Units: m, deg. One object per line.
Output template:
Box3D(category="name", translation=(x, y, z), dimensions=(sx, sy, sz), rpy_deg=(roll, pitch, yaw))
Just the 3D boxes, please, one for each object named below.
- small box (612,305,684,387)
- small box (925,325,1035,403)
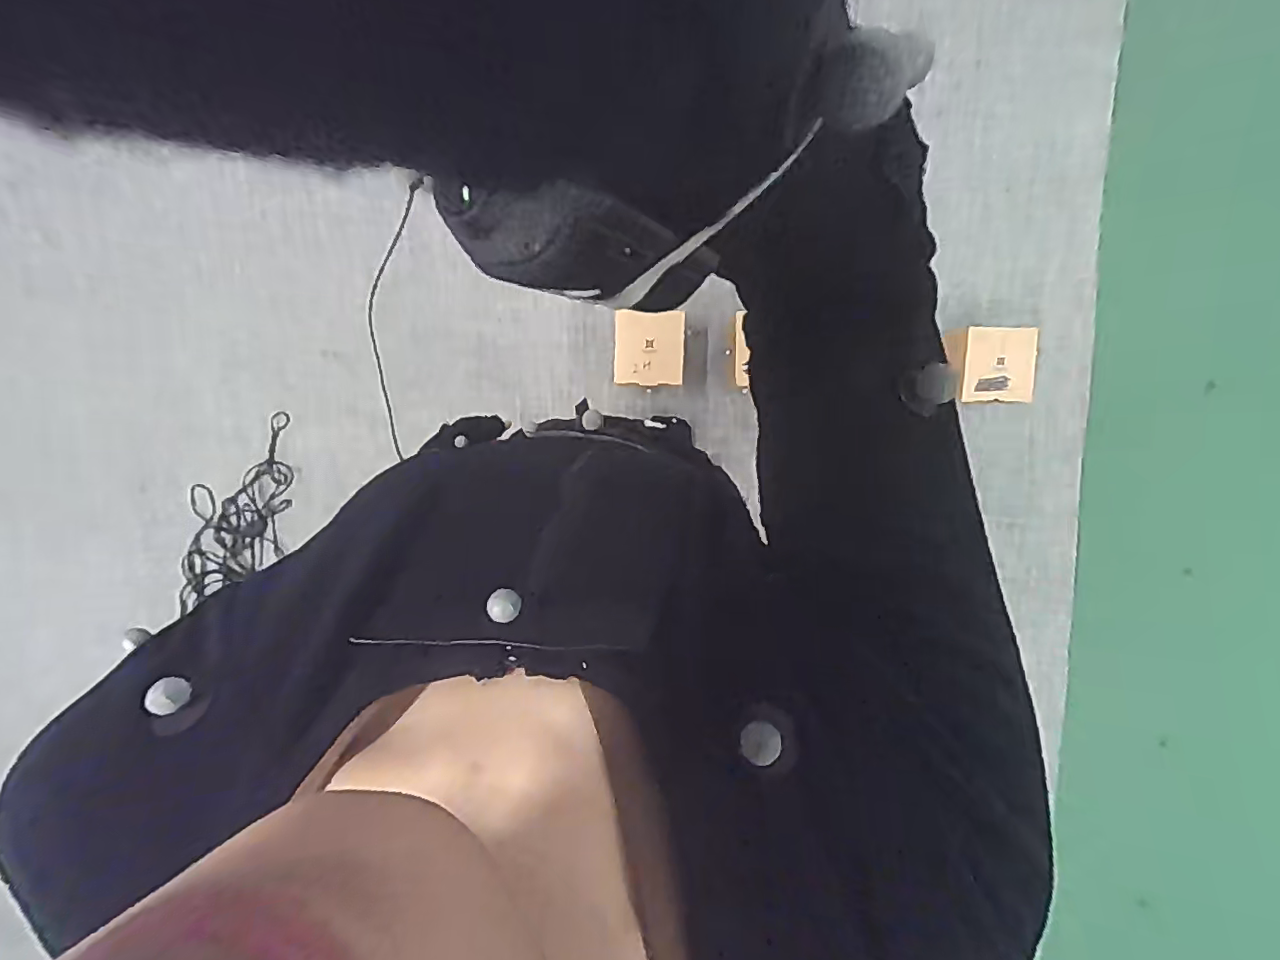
Box3D(category="small box", translation=(0.019, -0.330, 1.355), dimensions=(0.168, 0.176, 0.179), rpy_deg=(2, 97, 2))
Box3D(category="small box", translation=(0.836, -0.283, 1.348), dimensions=(0.168, 0.176, 0.179), rpy_deg=(2, 96, 1))
